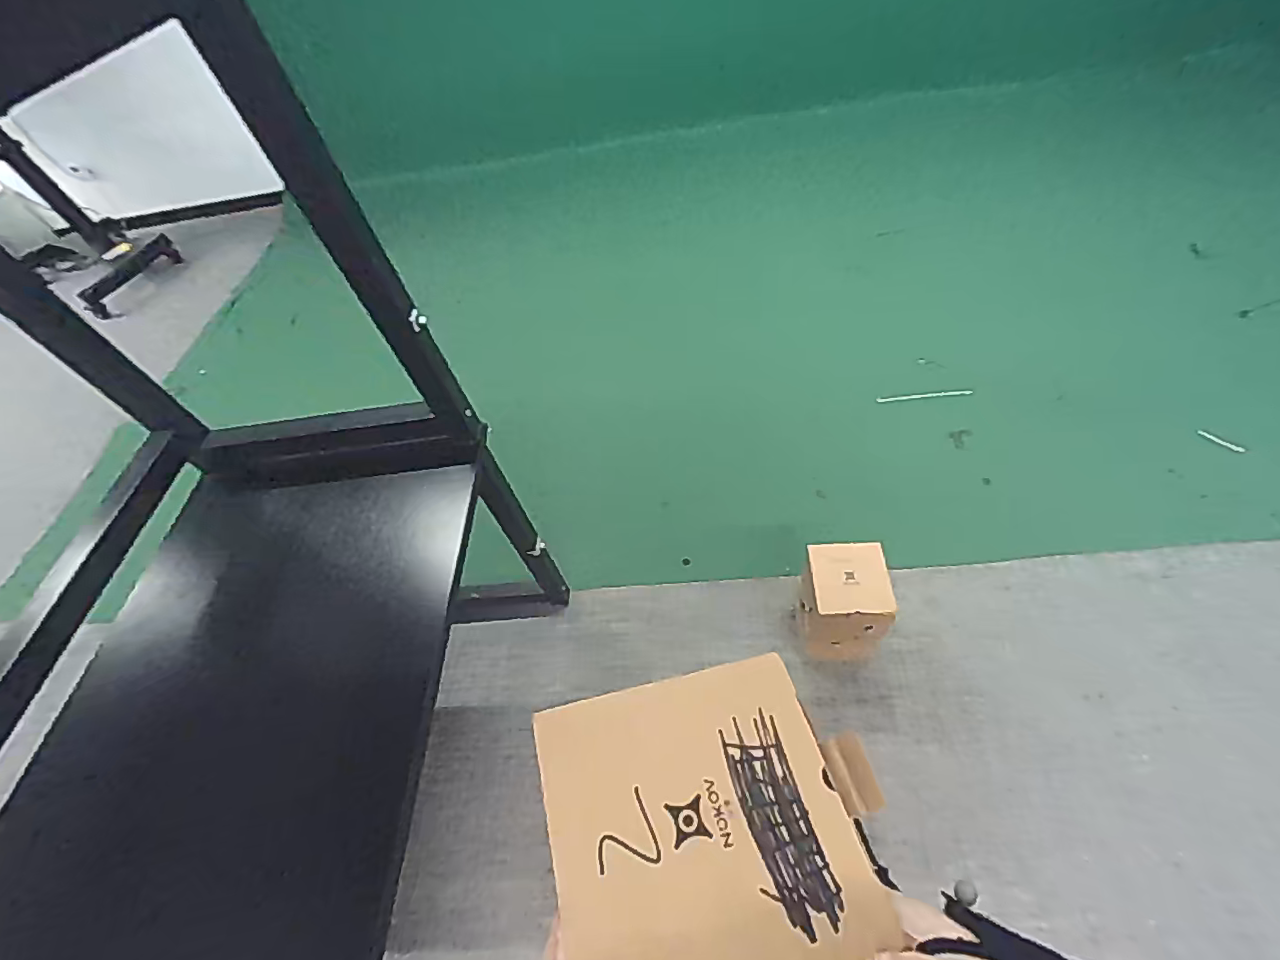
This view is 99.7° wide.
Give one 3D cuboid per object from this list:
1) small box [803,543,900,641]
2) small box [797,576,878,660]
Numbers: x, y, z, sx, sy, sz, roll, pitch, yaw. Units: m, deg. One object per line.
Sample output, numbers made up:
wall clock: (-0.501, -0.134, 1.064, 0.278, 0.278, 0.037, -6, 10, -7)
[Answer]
small box: (0.479, 0.265, 1.252, 0.168, 0.176, 0.179, -3, 53, 7)
small box: (0.503, 0.354, 1.384, 0.179, 0.176, 0.168, -2, 54, 7)
